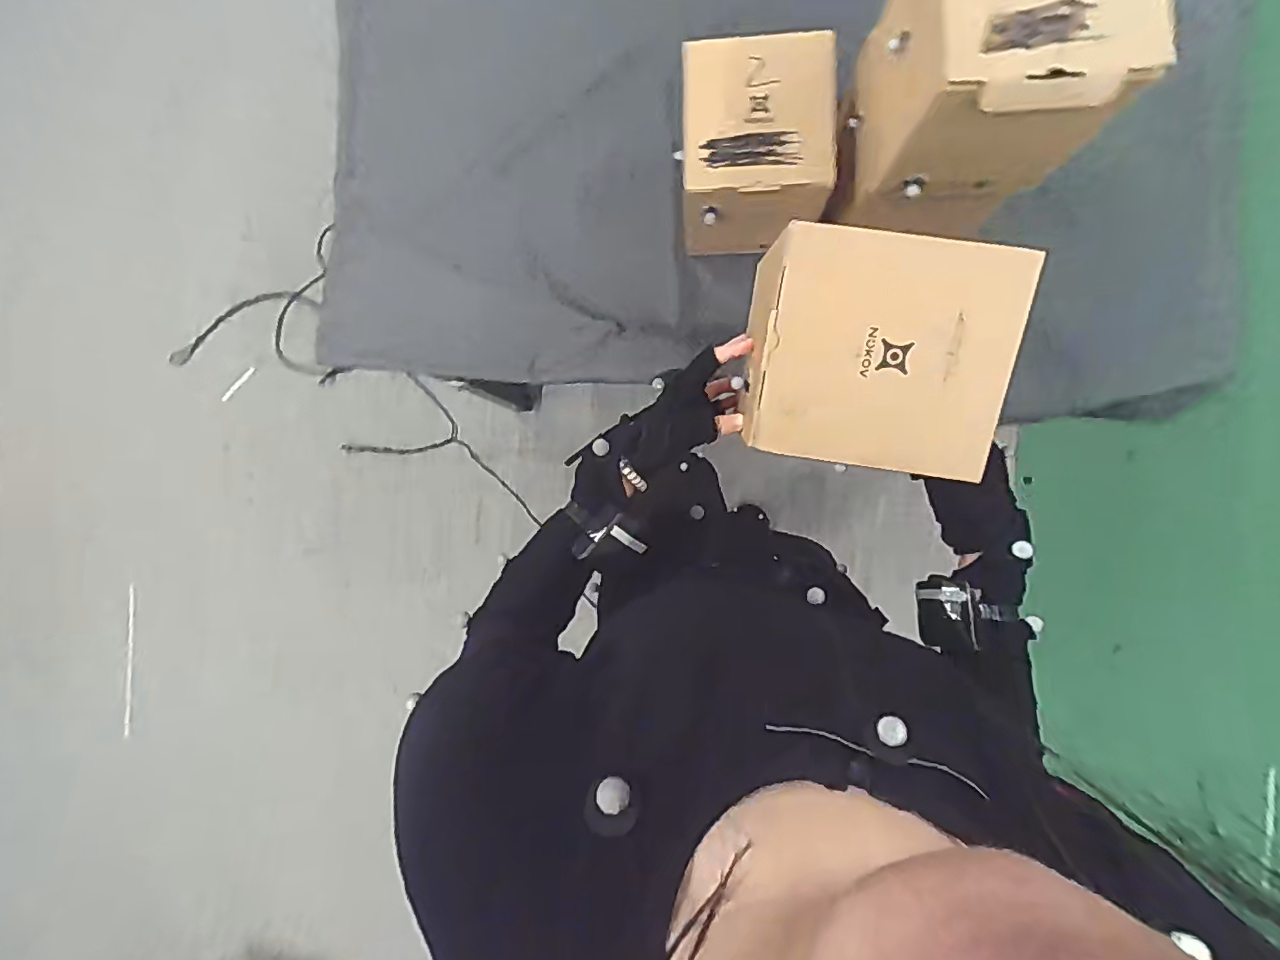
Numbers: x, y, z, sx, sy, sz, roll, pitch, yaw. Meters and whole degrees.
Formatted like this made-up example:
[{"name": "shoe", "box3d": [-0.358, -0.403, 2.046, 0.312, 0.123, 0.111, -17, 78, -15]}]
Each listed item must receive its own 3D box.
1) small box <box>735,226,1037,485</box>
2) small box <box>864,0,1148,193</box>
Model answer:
[{"name": "small box", "box3d": [0.185, -0.105, 0.472, 0.179, 0.176, 0.168, 10, 104, 4]}, {"name": "small box", "box3d": [0.320, -0.393, 0.508, 0.168, 0.176, 0.179, 0, 88, 6]}]
